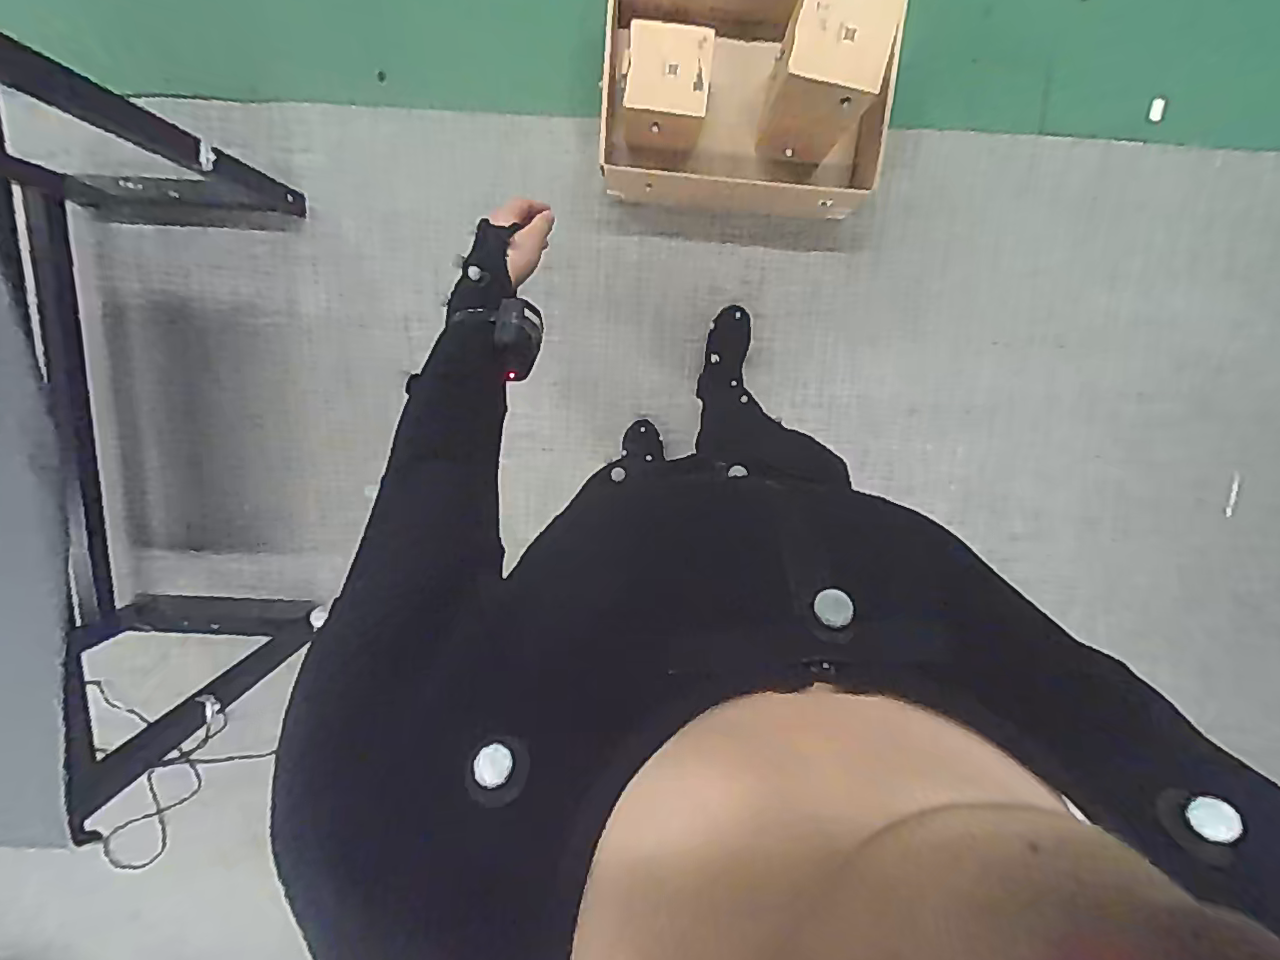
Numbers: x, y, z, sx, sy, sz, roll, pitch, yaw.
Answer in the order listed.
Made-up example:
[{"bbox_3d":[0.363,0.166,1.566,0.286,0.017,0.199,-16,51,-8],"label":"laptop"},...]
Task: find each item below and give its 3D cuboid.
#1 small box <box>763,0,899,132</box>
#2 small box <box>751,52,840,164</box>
[{"bbox_3d":[0.354,-0.801,1.035,0.179,0.176,0.168,12,100,-2],"label":"small box"},{"bbox_3d":[0.354,-0.837,1.196,0.168,0.176,0.179,11,102,-2],"label":"small box"}]
